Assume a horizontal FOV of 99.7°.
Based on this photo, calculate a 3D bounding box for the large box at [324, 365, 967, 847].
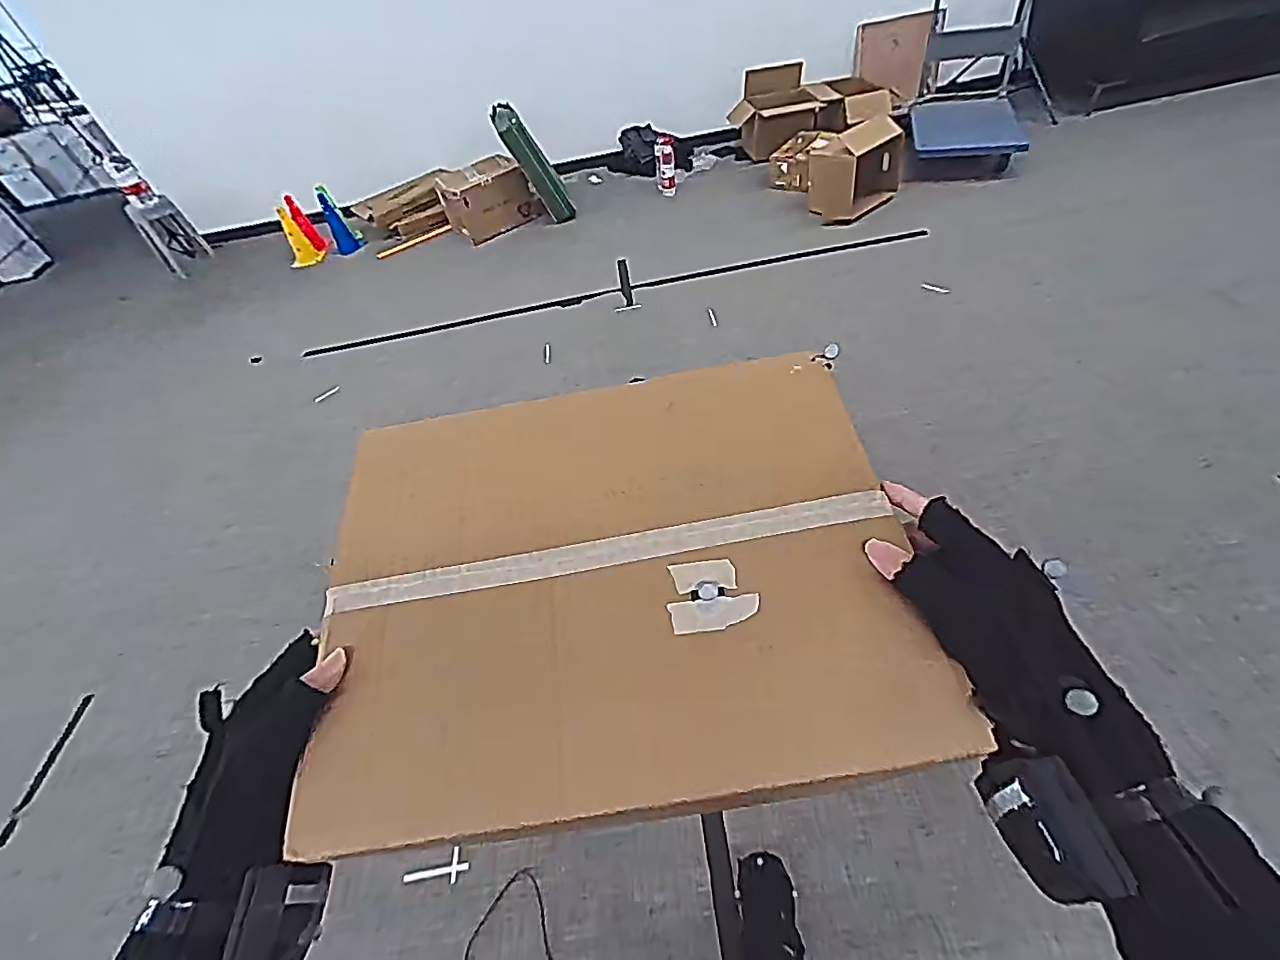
[{"bbox_3d":[-0.004,0.138,0.528,0.408,0.320,0.320,-10,58,1],"label":"large box"}]
